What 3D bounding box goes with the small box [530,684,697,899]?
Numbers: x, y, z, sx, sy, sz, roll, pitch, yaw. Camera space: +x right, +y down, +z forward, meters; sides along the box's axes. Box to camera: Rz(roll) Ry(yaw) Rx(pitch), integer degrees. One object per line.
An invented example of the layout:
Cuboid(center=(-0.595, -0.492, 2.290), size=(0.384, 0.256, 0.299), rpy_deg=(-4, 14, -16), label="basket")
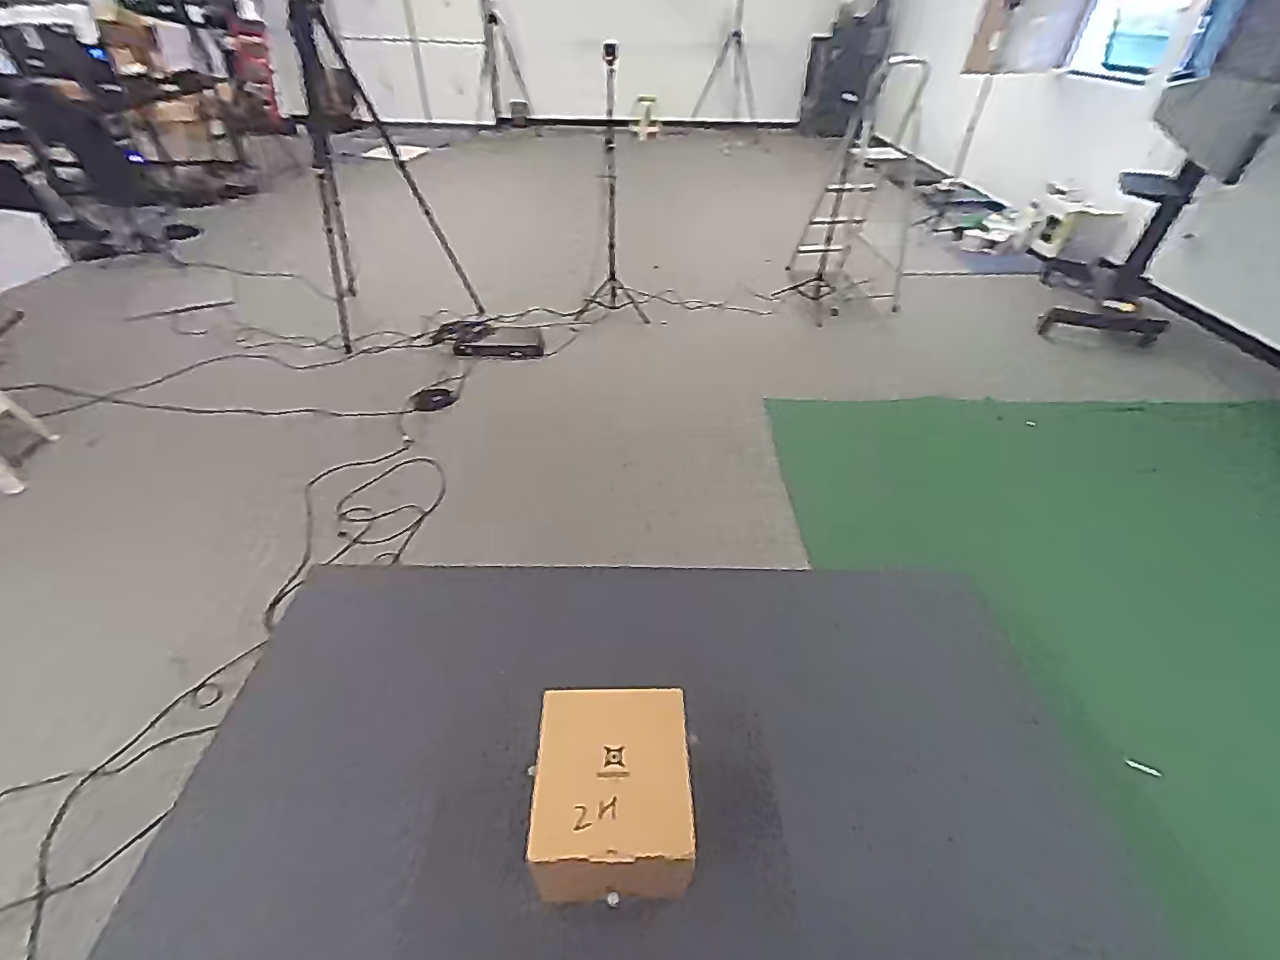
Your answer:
Cuboid(center=(-0.028, 0.363, 0.636), size=(0.168, 0.176, 0.179), rpy_deg=(-1, 41, -2), label="small box")
